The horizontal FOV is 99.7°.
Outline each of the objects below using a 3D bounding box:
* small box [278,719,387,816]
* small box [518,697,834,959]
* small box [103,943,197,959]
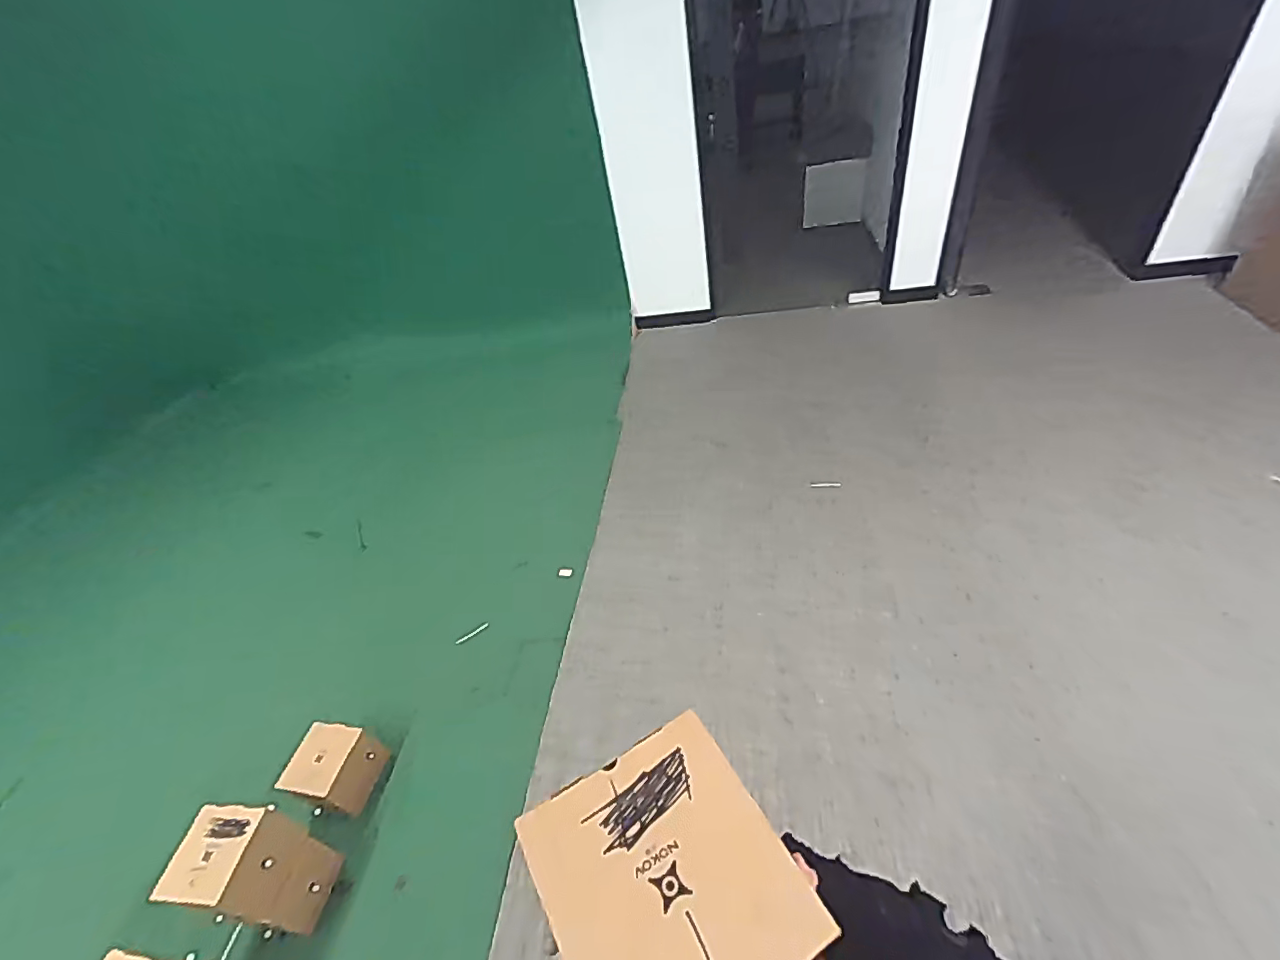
[{"bbox_3d":[-0.833,0.792,1.492,0.168,0.176,0.179,1,43,16],"label":"small box"},{"bbox_3d":[0.020,0.322,0.438,0.168,0.176,0.179,-24,48,-19],"label":"small box"},{"bbox_3d":[-0.943,1.017,1.020,0.168,0.176,0.179,1,43,15],"label":"small box"}]
